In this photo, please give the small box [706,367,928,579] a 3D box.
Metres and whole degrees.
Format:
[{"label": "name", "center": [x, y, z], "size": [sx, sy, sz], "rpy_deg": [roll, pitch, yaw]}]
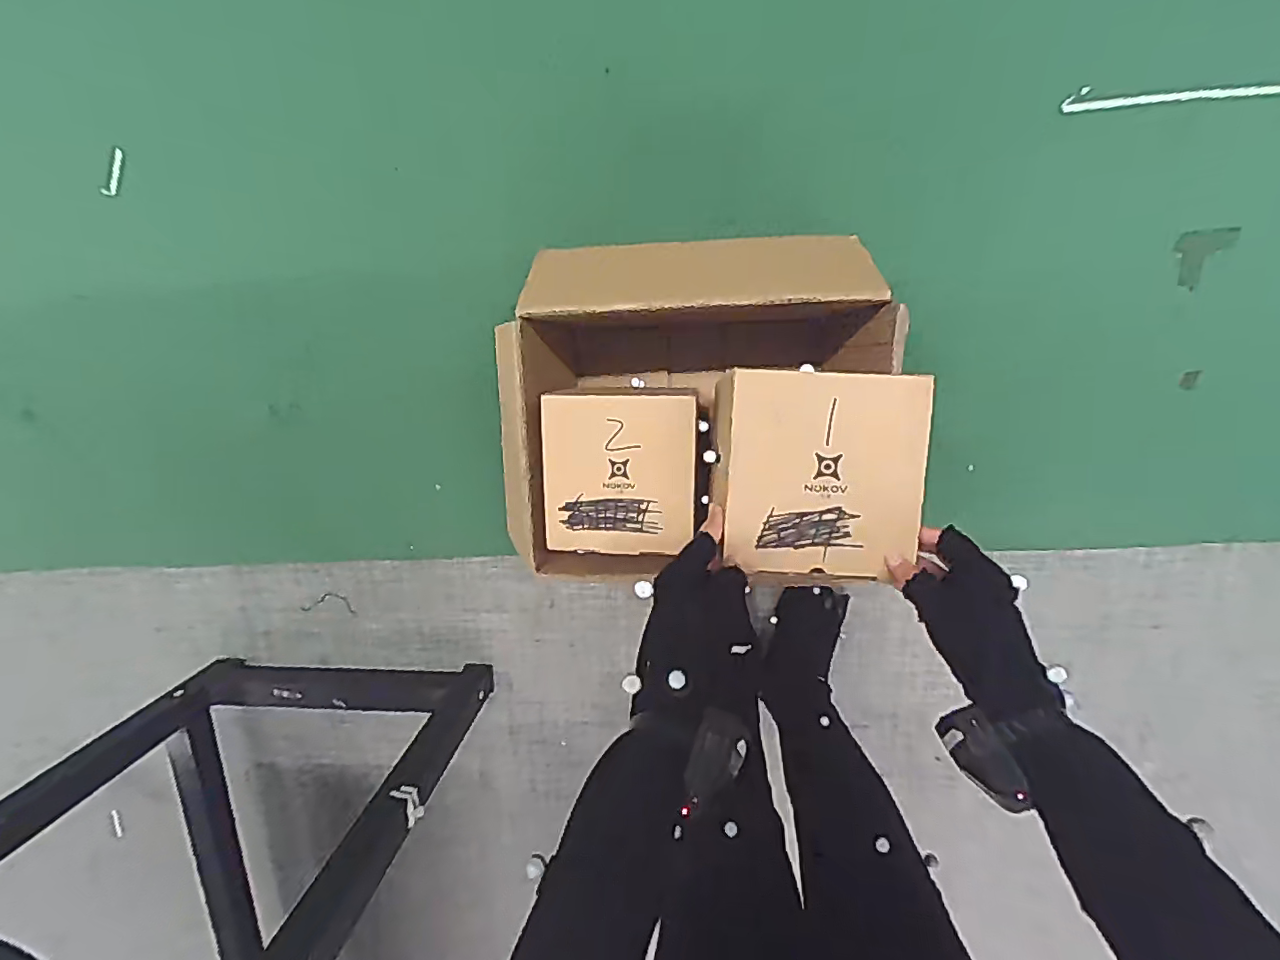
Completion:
[{"label": "small box", "center": [0.156, -0.014, 0.537], "size": [0.168, 0.176, 0.179], "rpy_deg": [3, 96, 2]}]
